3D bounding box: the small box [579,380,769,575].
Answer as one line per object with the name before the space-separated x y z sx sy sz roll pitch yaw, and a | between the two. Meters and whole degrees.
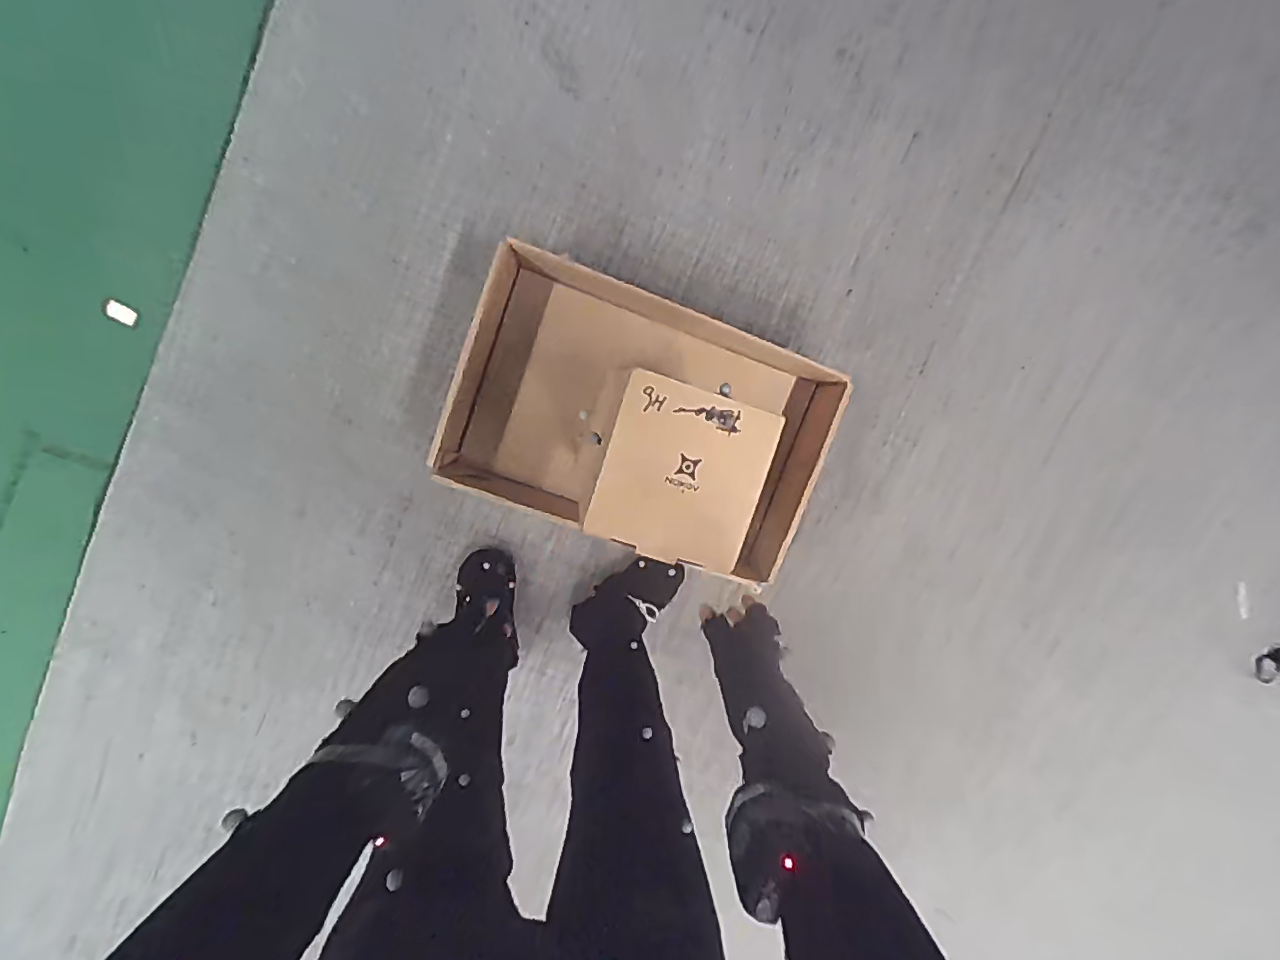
small box | 0.032 -0.010 0.652 0.168 0.176 0.179 15 96 -6
